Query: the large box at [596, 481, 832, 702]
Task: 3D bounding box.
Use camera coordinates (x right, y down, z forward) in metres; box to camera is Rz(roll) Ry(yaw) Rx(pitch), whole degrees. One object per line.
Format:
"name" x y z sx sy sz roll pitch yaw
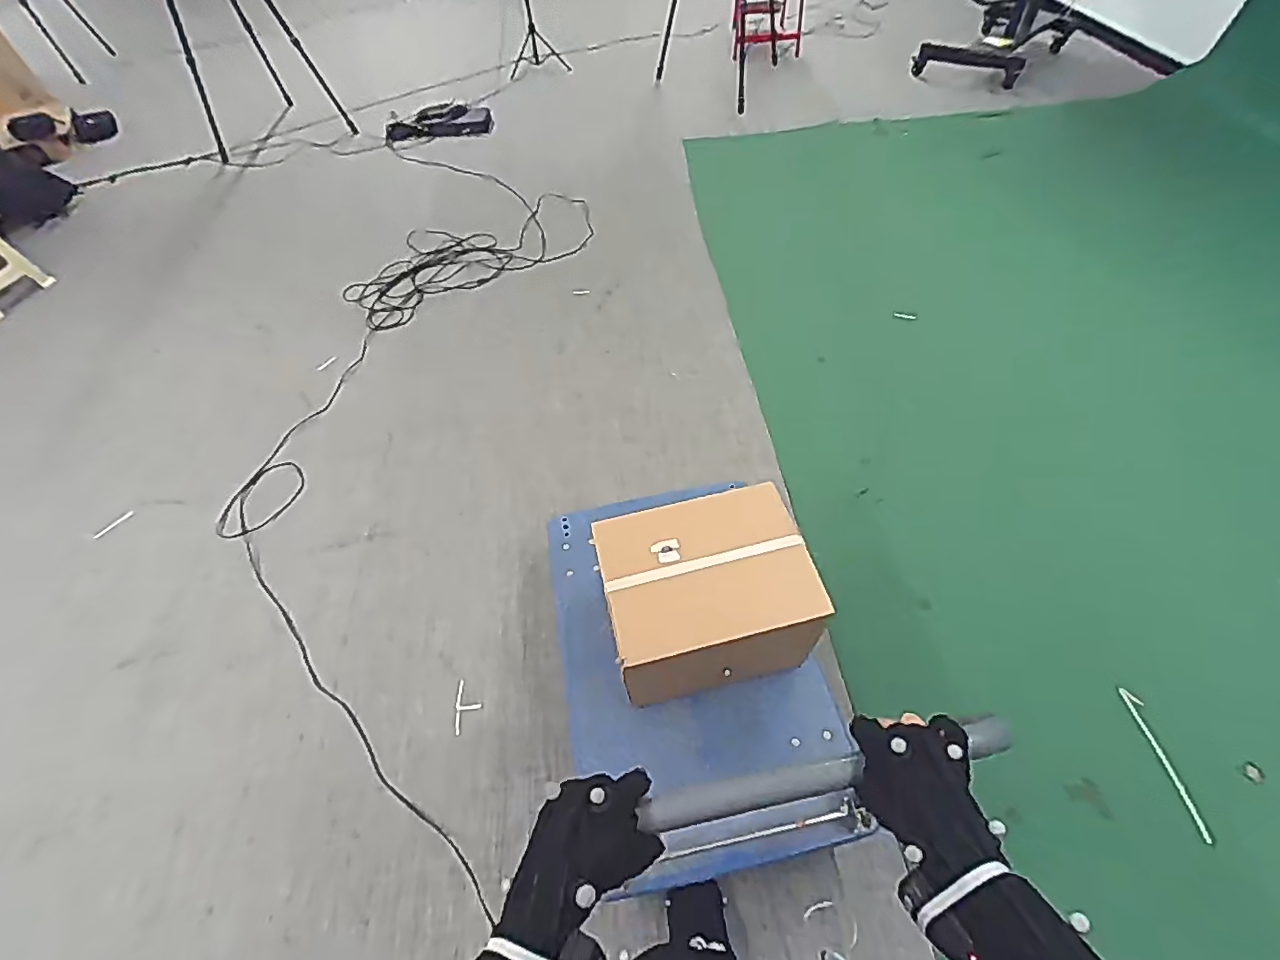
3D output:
"large box" 0.148 0.255 1.203 0.408 0.320 0.320 -15 55 -4
